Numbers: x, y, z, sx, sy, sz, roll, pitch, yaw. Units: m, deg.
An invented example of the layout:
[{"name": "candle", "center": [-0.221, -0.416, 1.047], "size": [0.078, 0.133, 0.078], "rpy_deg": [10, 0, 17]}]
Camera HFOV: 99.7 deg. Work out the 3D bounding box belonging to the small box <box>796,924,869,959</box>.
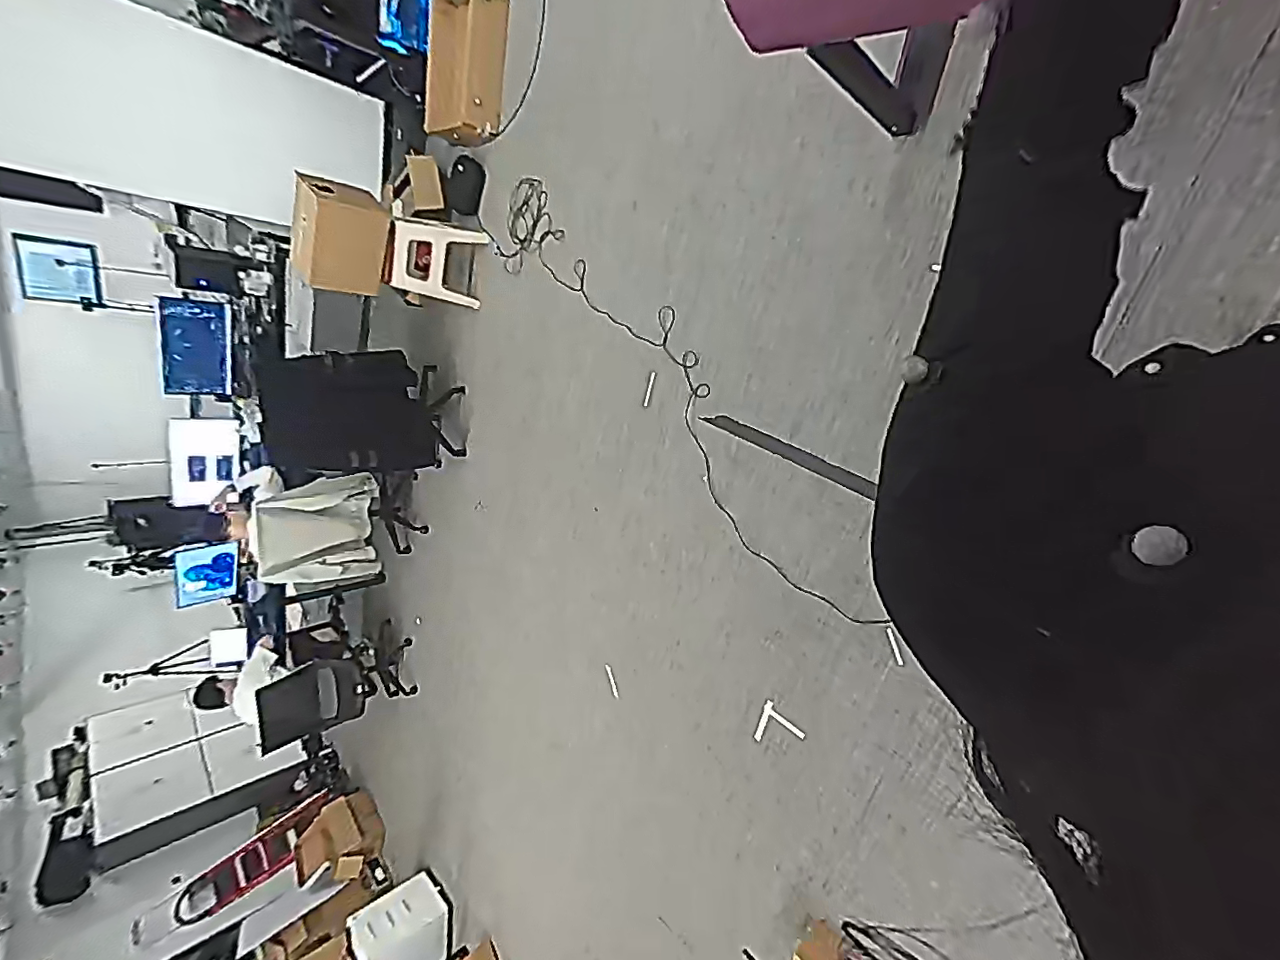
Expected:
[{"name": "small box", "center": [0.601, 1.572, 1.716], "size": [0.179, 0.176, 0.168], "rpy_deg": [20, 110, 40]}]
